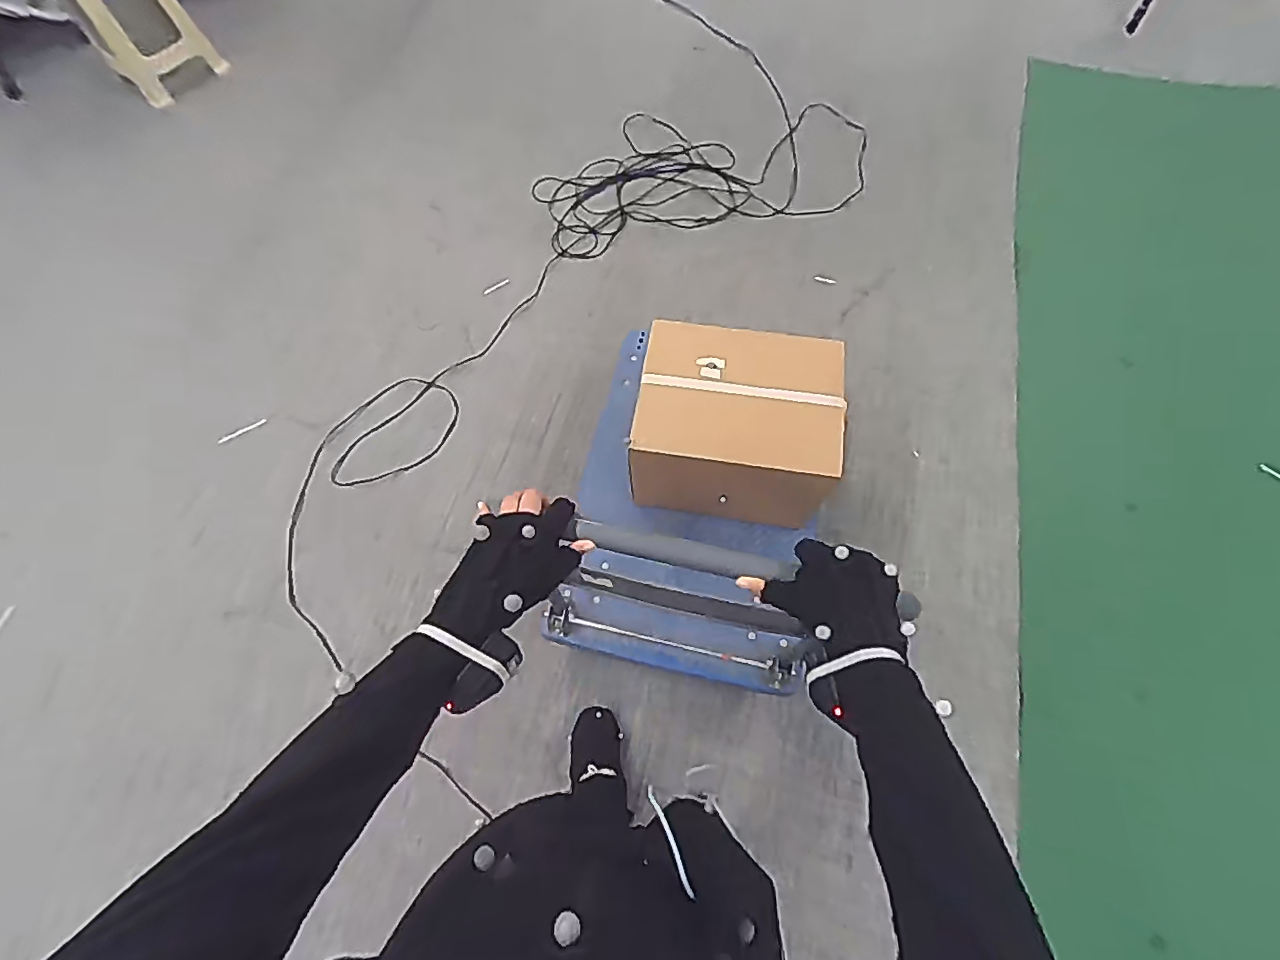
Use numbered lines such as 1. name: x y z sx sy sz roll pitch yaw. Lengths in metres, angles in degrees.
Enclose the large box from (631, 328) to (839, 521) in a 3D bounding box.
1. large box: 0.208 -0.113 1.229 0.408 0.320 0.320 7 67 6
